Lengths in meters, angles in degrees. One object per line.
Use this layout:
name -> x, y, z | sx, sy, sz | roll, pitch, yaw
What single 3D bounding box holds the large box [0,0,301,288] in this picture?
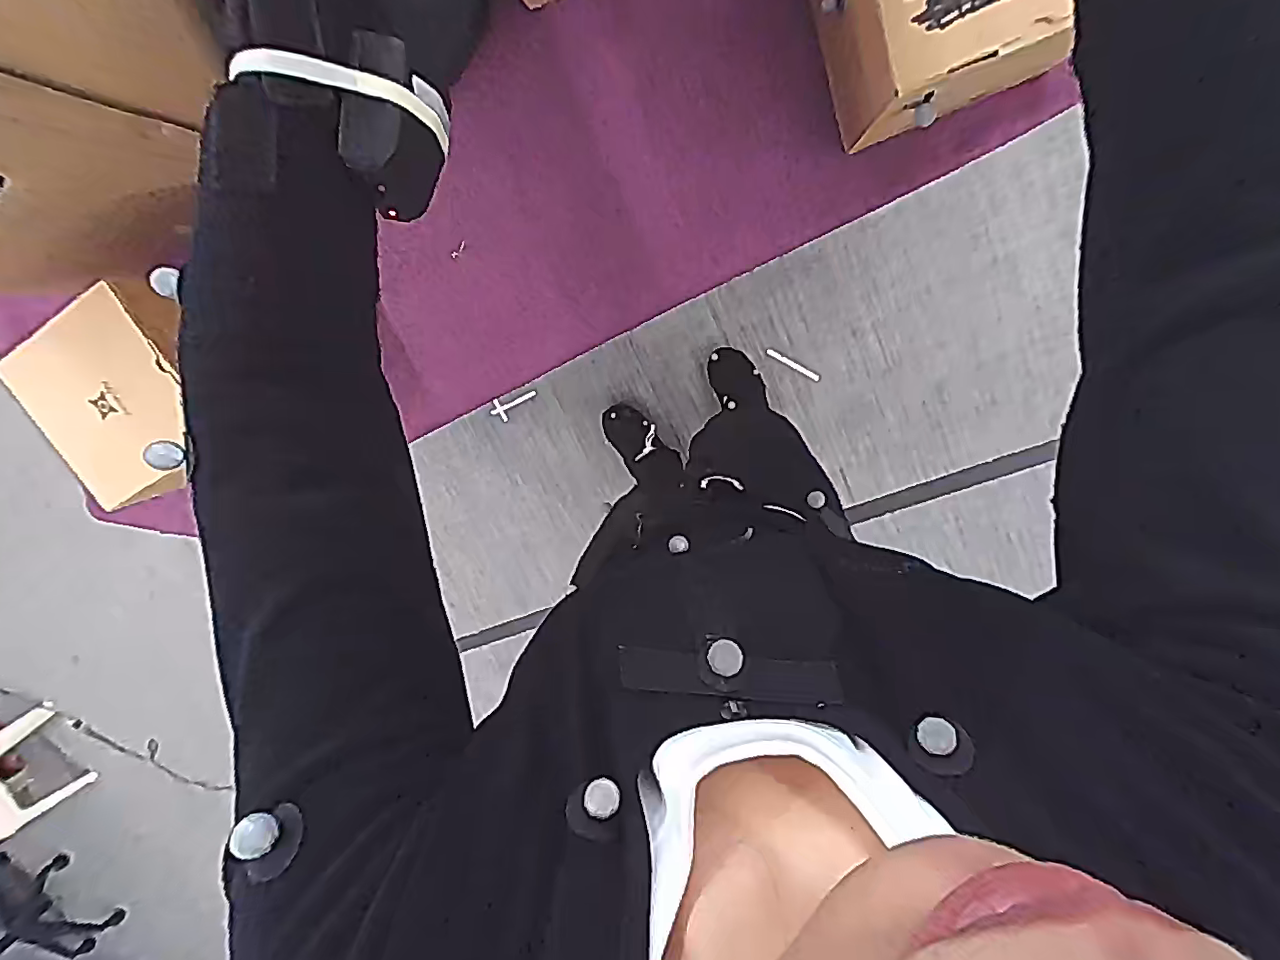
large box -> -0.591, -0.405, 0.418 | 0.320, 0.320, 0.408 | -24, 107, 16
